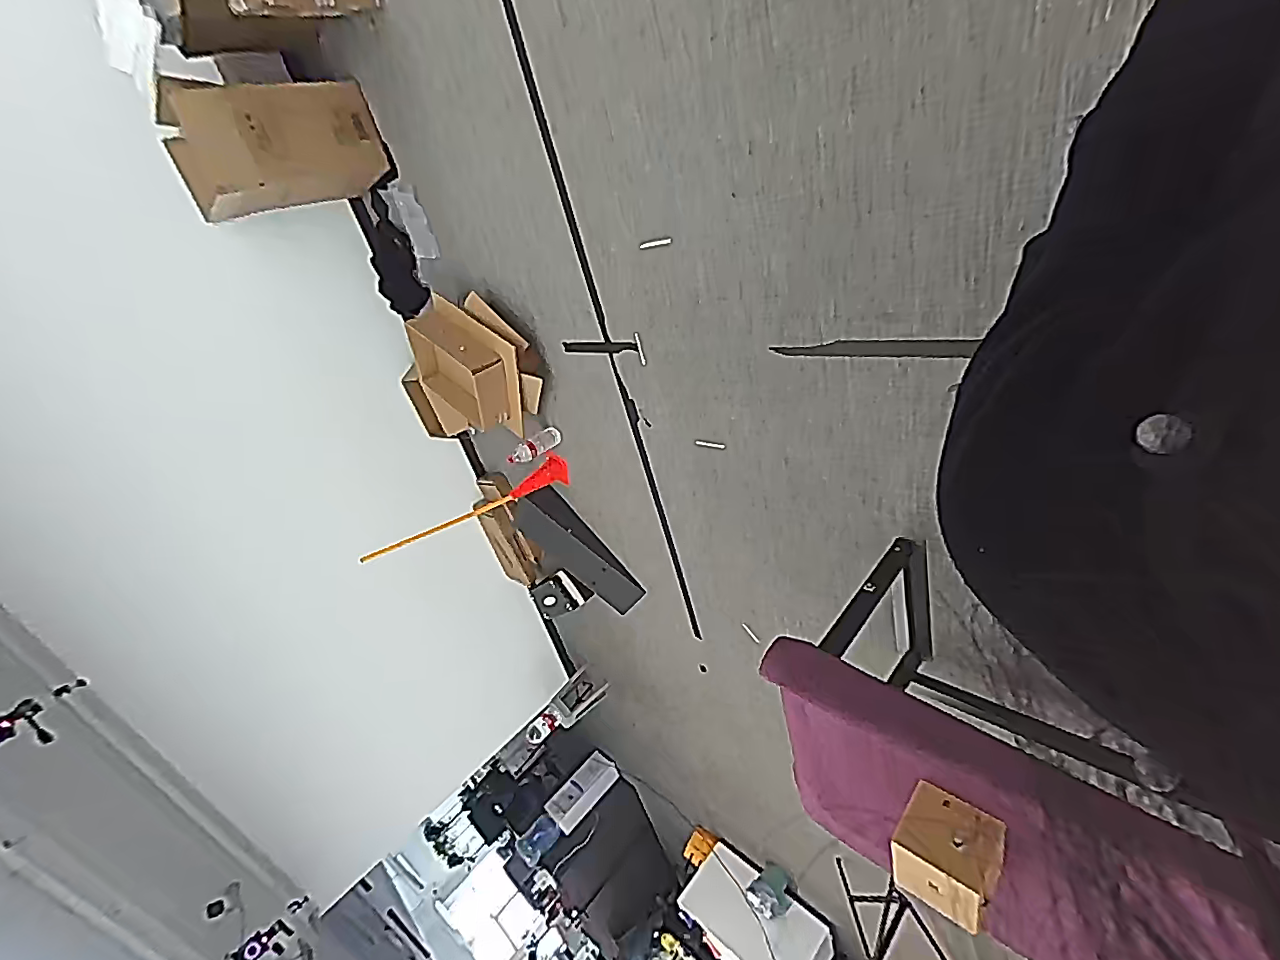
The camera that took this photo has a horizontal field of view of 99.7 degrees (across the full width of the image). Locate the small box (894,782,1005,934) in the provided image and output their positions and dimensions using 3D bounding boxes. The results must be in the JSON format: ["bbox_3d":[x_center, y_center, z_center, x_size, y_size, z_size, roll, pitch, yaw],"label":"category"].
[{"bbox_3d":[0.662,0.797,1.157,0.168,0.176,0.179,13,130,45],"label":"small box"}]
